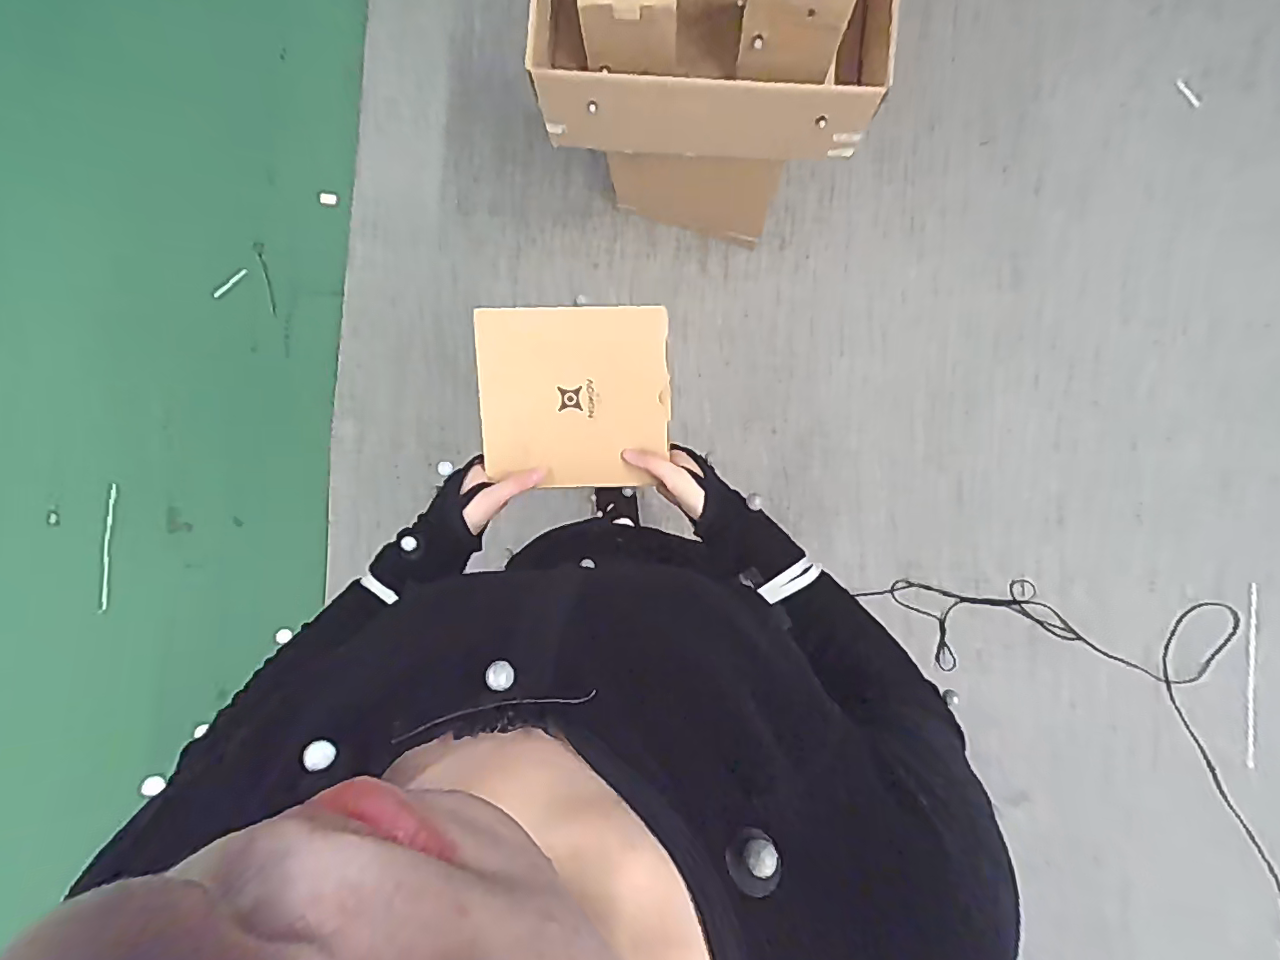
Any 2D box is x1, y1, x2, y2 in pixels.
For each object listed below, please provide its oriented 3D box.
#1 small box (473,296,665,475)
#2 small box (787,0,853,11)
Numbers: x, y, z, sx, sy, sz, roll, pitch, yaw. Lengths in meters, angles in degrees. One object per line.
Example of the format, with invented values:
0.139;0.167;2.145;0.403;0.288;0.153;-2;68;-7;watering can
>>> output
-0.066;-0.096;0.578;0.179;0.176;0.168;-2;99;-3;small box
0.264;-0.833;0.777;0.168;0.176;0.179;12;91;3;small box
